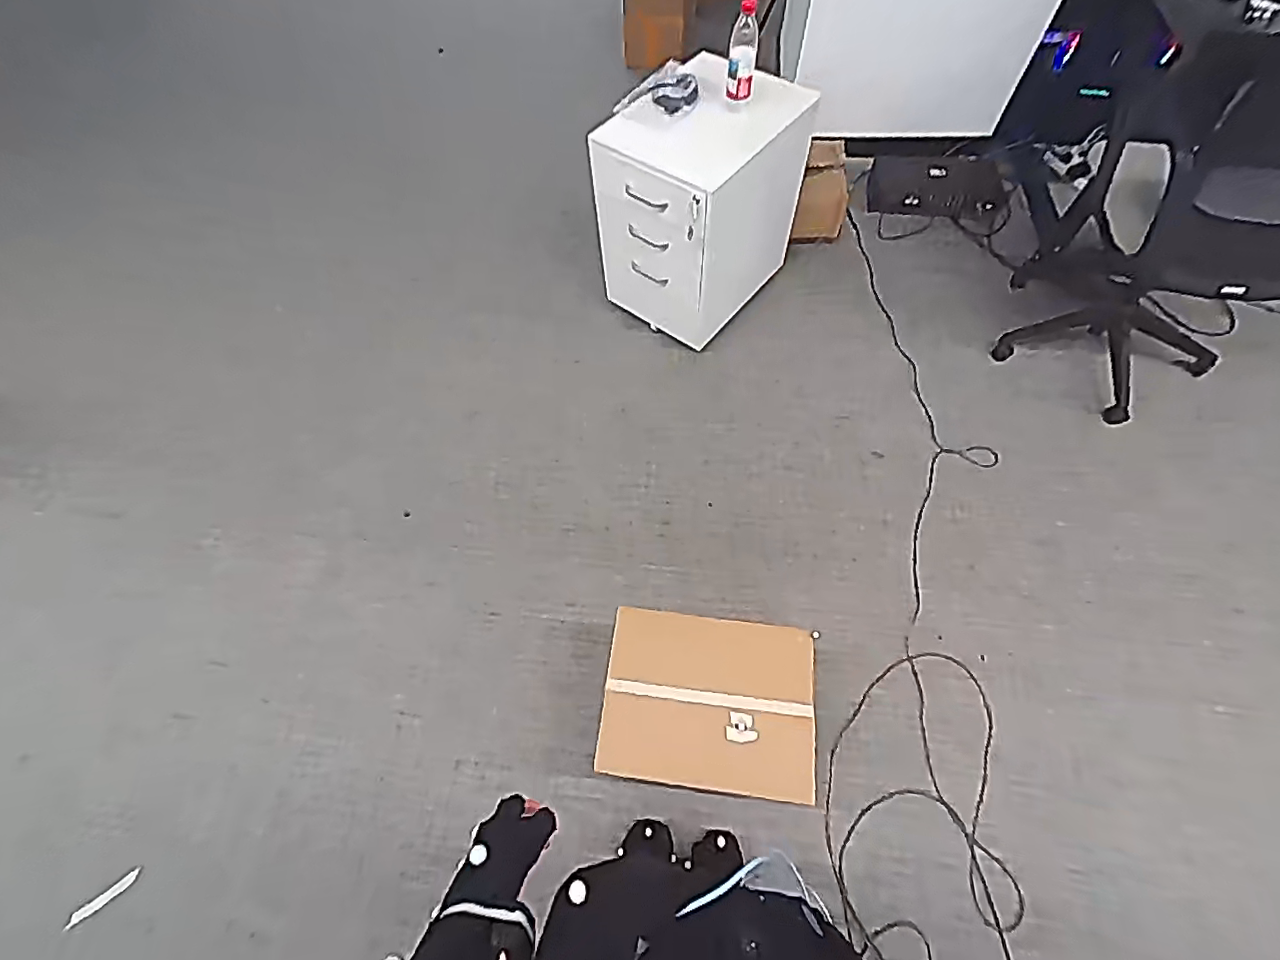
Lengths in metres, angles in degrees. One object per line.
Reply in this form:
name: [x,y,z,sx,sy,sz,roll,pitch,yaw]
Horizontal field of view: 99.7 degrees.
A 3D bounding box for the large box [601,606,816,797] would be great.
large box: [0.143,0.489,1.191,0.408,0.320,0.320,6,64,5]
